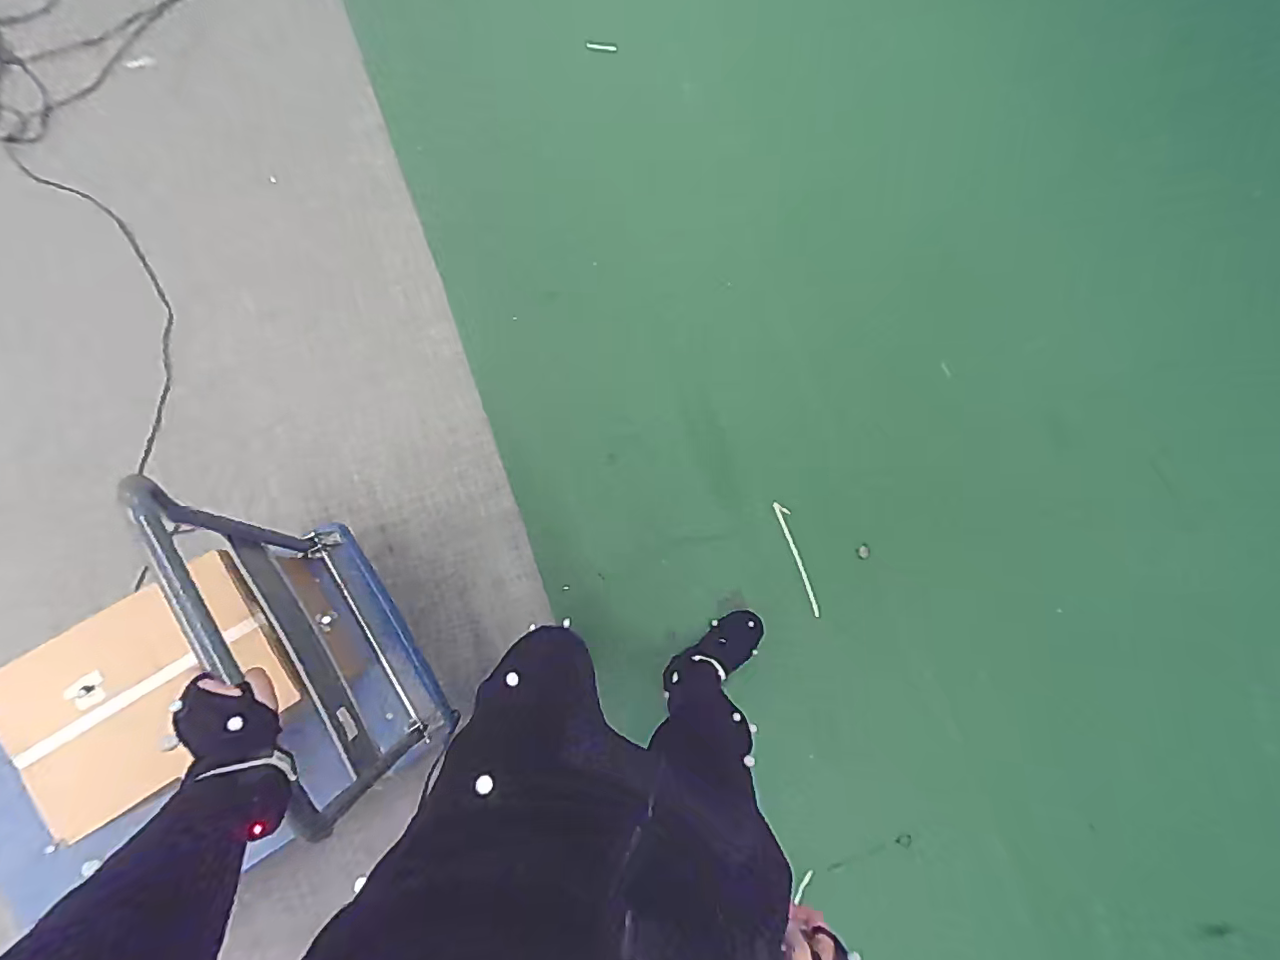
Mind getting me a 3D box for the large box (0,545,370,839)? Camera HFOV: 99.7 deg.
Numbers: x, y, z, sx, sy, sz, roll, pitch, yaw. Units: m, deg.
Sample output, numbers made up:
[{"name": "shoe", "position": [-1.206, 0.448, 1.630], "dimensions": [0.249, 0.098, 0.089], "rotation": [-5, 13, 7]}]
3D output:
[{"name": "large box", "position": [-0.833, 0.367, 1.054], "dimensions": [0.408, 0.320, 0.320], "rotation": [-32, 84, -11]}]
